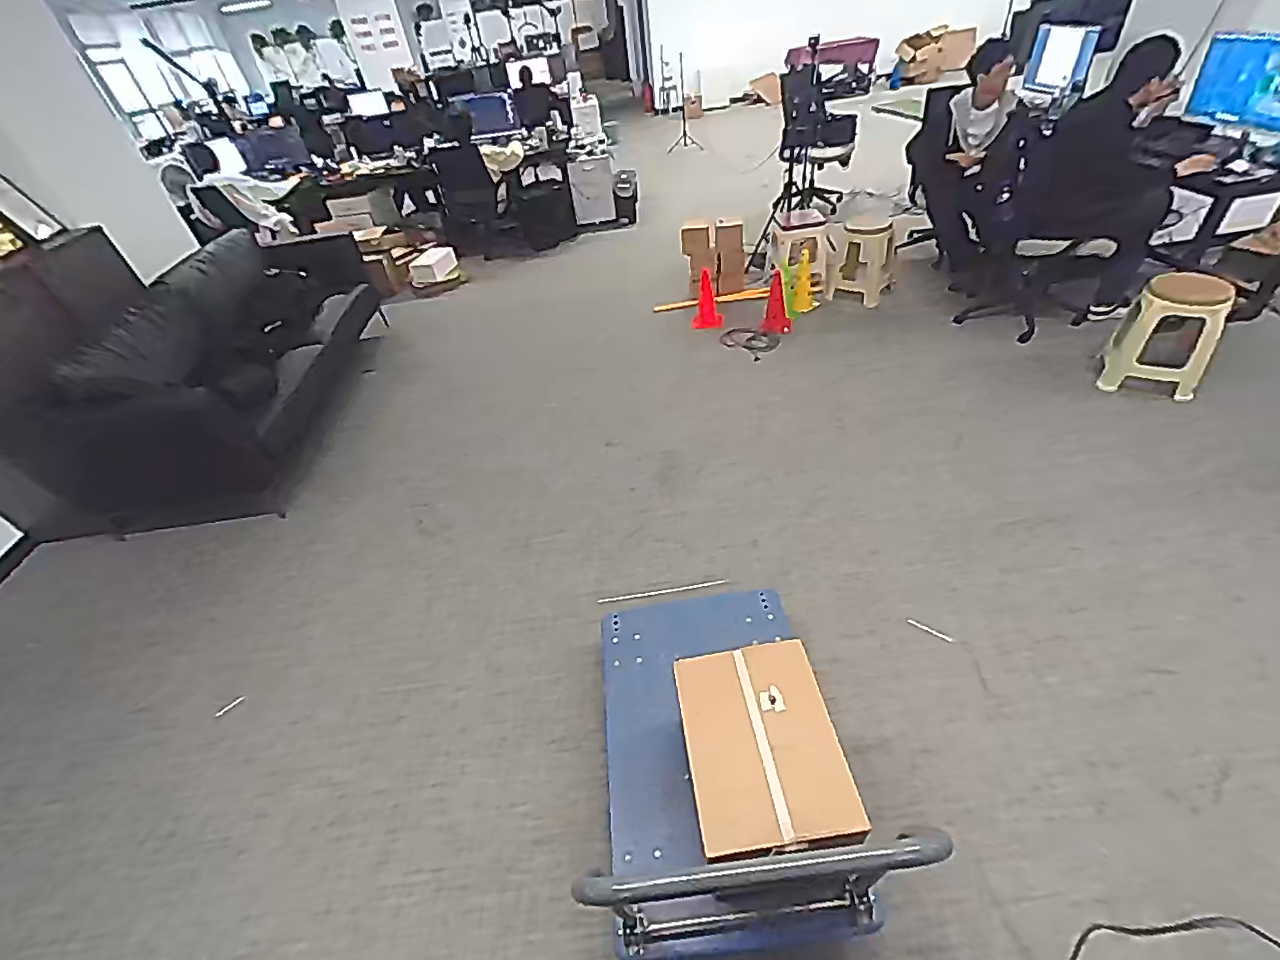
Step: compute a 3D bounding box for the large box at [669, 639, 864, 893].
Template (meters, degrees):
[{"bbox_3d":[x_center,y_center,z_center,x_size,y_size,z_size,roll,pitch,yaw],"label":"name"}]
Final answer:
[{"bbox_3d":[0.263,0.645,1.237,0.320,0.320,0.408,-9,41,0],"label":"large box"}]
